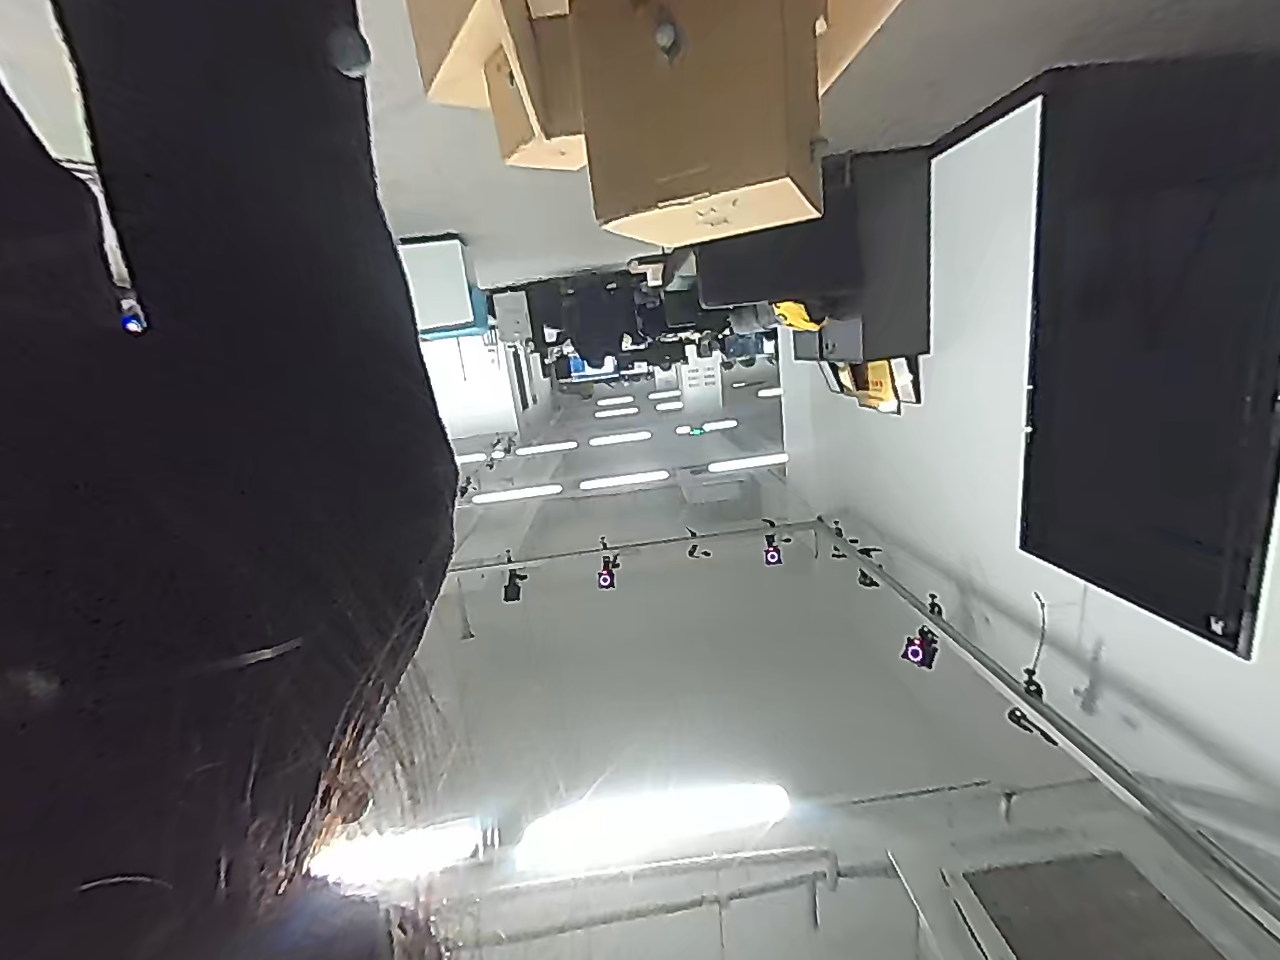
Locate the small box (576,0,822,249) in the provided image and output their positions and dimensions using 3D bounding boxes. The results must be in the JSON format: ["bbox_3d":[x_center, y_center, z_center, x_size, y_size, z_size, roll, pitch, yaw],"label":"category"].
[{"bbox_3d":[0.063,-0.313,0.472,0.168,0.176,0.179,-1,-166,26],"label":"small box"}]

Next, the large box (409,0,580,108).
[{"bbox_3d":[-0.226,-0.942,0.992,0.320,0.320,0.408,-16,-162,-31],"label":"large box"}]

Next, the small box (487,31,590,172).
[{"bbox_3d":[-0.164,-0.703,1.021,0.179,0.176,0.168,-18,-162,-35],"label":"small box"}]
